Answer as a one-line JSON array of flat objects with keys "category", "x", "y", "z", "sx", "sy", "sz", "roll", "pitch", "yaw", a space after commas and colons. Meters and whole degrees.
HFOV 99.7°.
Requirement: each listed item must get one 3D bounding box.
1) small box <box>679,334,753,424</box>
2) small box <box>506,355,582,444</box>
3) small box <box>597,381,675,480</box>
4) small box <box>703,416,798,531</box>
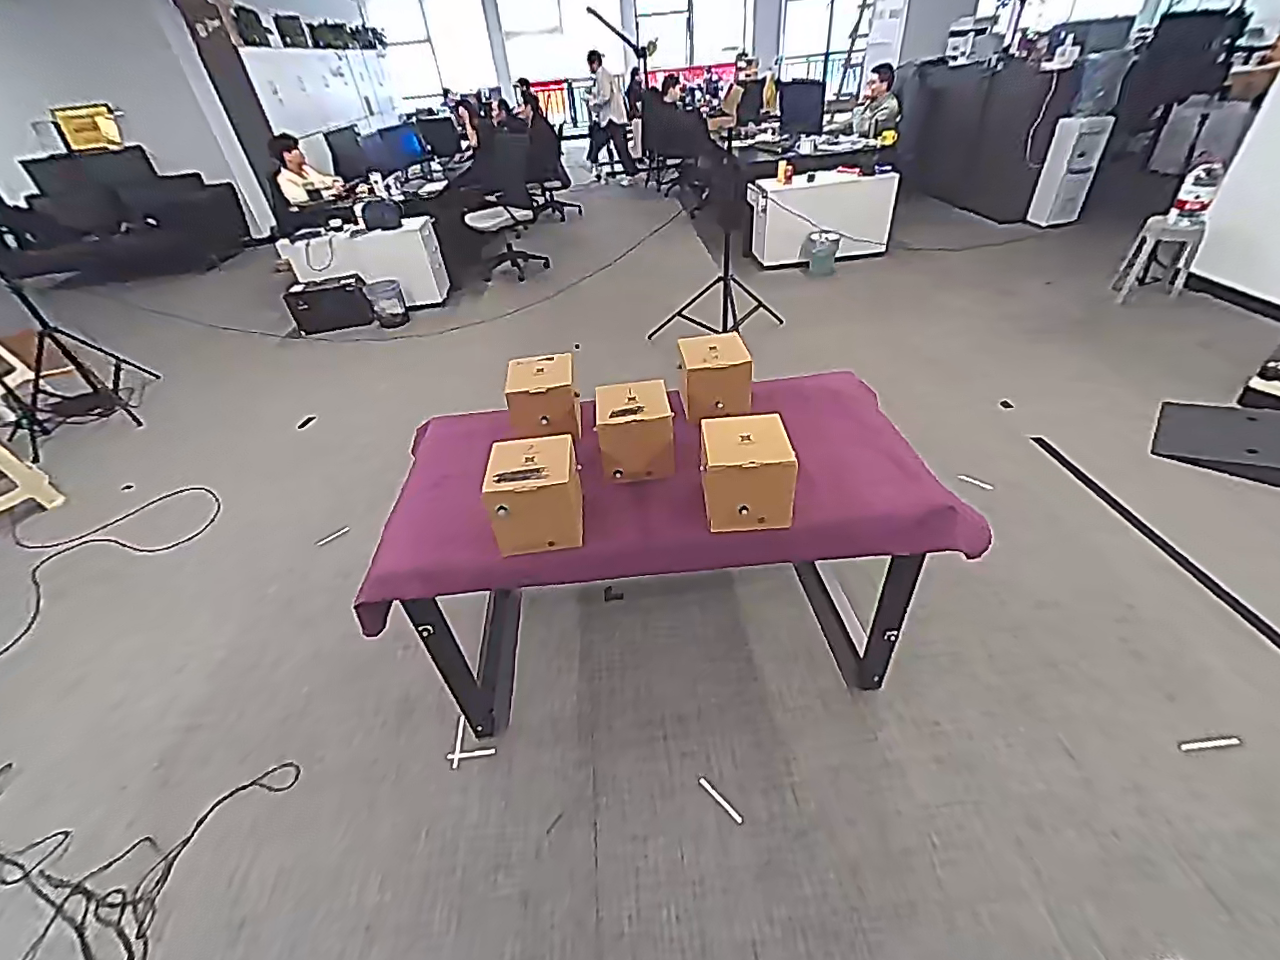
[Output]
[{"category": "small box", "x": 0.198, "y": -0.269, "z": 1.444, "sx": 0.168, "sy": 0.176, "sz": 0.179, "roll": -8, "pitch": 40, "yaw": 0}, {"category": "small box", "x": -0.246, "y": -0.207, "z": 1.428, "sx": 0.168, "sy": 0.176, "sz": 0.179, "roll": -7, "pitch": 41, "yaw": -2}, {"category": "small box", "x": -0.010, "y": -0.113, "z": 1.282, "sx": 0.168, "sy": 0.176, "sz": 0.179, "roll": -6, "pitch": 38, "yaw": 0}, {"category": "small box", "x": 0.220, "y": -0.014, "z": 1.125, "sx": 0.168, "sy": 0.176, "sz": 0.179, "roll": -4, "pitch": 37, "yaw": 3}]
